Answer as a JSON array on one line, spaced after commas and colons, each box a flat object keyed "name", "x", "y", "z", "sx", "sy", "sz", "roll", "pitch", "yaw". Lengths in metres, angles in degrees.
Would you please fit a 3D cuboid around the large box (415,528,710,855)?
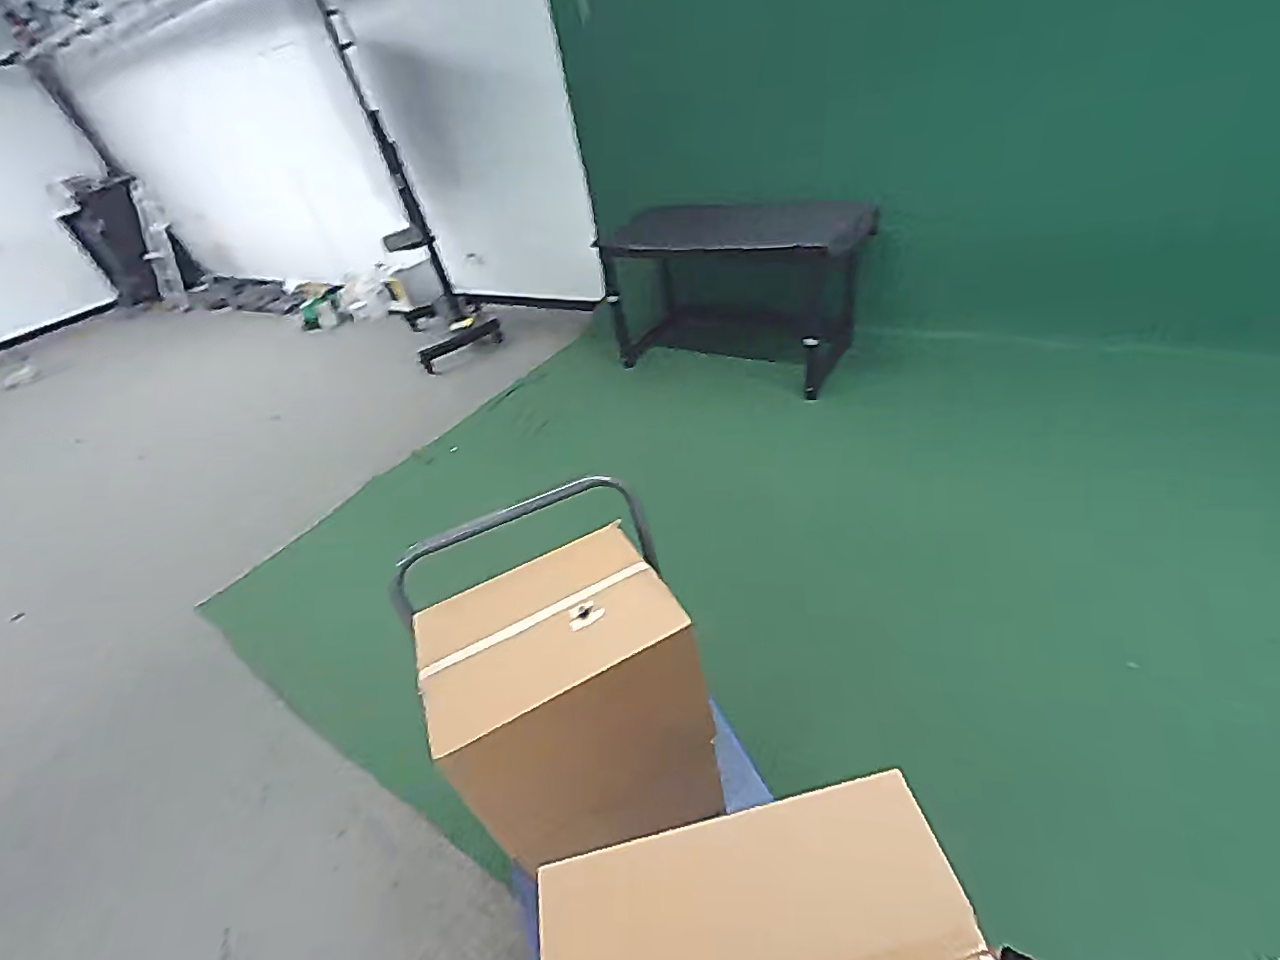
[{"name": "large box", "x": -0.136, "y": 0.355, "z": 0.972, "sx": 0.408, "sy": 0.320, "sz": 0.320, "roll": -23, "pitch": 34, "yaw": -15}]
